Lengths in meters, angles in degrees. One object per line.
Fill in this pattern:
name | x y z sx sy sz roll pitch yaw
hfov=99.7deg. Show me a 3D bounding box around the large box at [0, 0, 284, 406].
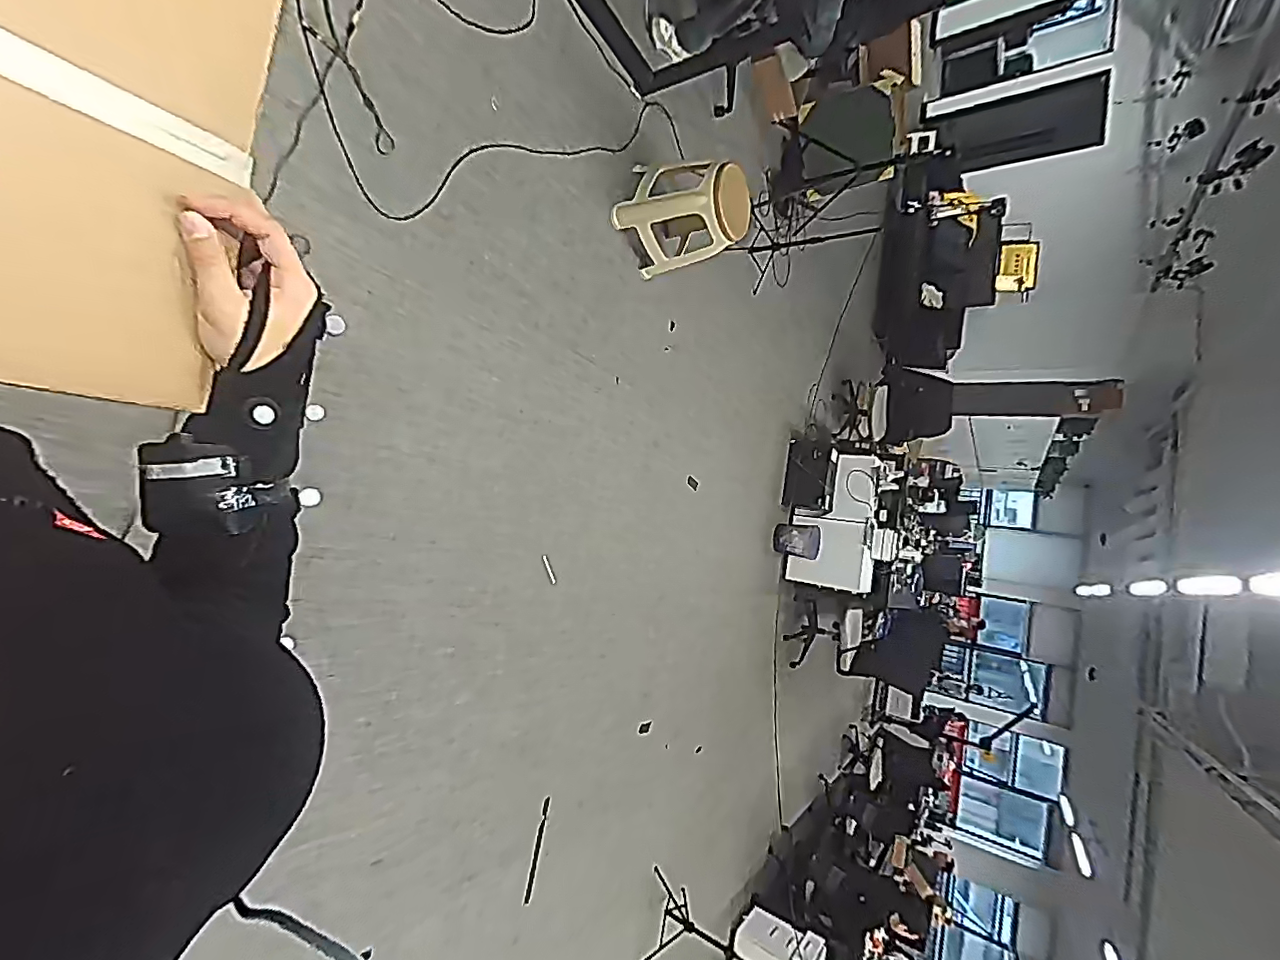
large box | -0.488 -0.238 0.279 0.408 0.320 0.320 9 94 -56
